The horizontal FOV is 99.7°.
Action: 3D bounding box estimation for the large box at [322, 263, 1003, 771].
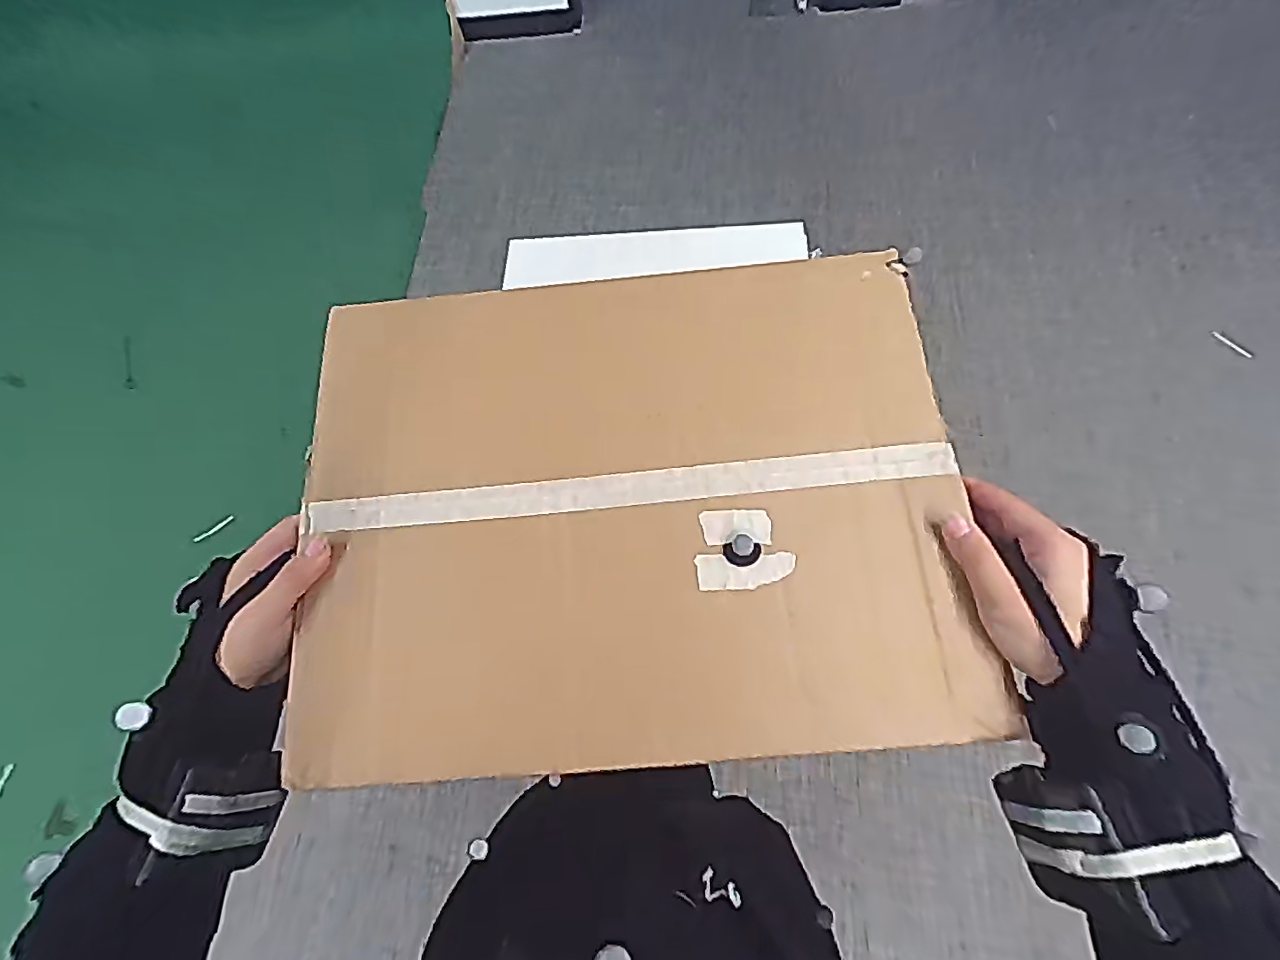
[{"bbox_3d":[0.003,0.049,0.497,0.408,0.320,0.320,-5,73,1],"label":"large box"}]
